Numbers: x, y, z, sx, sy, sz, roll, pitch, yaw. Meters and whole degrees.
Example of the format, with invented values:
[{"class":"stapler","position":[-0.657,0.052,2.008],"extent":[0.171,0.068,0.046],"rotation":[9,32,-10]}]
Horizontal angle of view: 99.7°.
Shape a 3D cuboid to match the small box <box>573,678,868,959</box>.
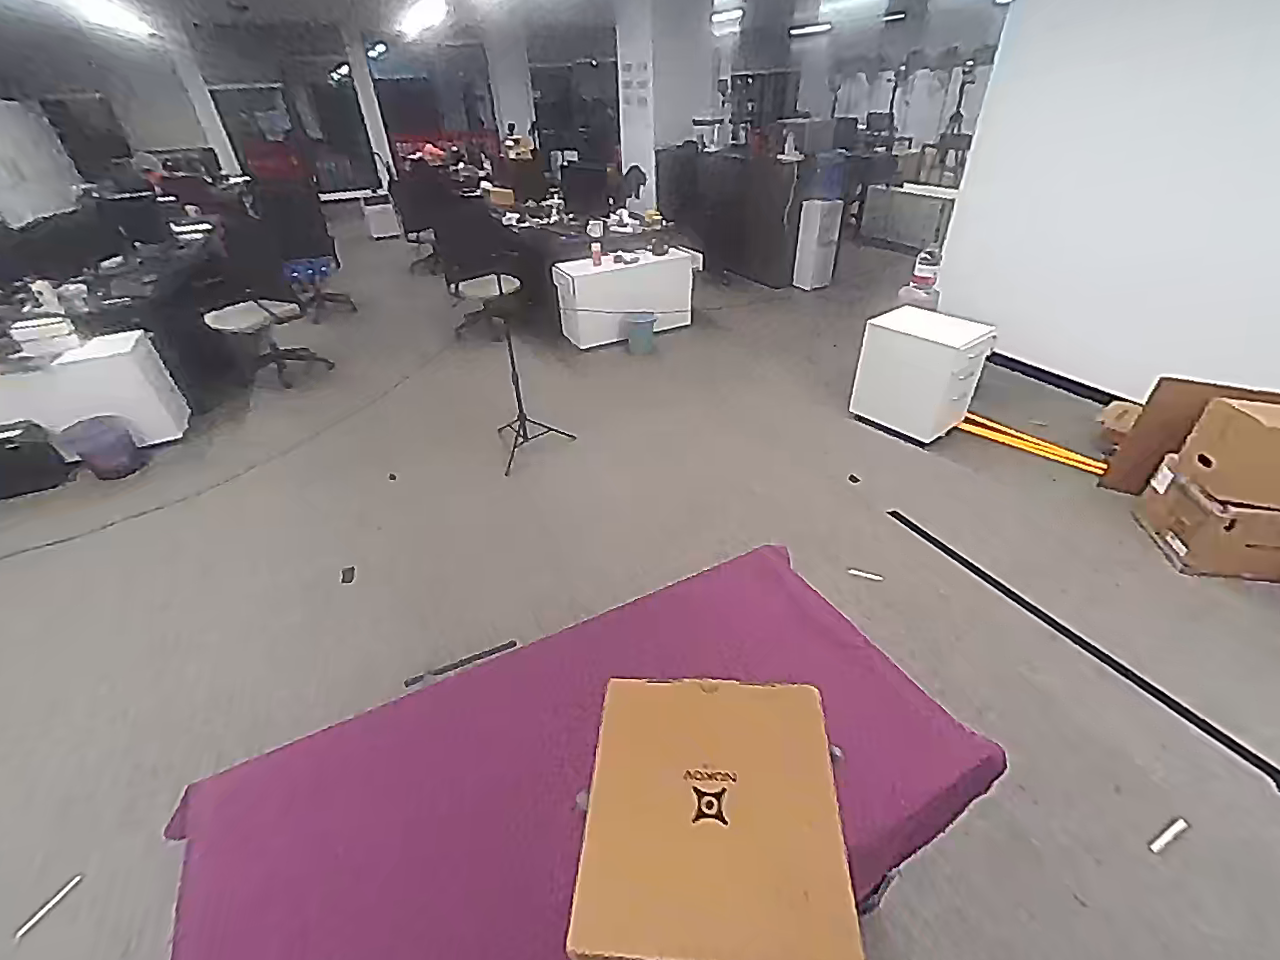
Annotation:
[{"class":"small box","position":[0.060,0.276,0.405],"extent":[0.168,0.176,0.179],"rotation":[-1,36,8]}]
